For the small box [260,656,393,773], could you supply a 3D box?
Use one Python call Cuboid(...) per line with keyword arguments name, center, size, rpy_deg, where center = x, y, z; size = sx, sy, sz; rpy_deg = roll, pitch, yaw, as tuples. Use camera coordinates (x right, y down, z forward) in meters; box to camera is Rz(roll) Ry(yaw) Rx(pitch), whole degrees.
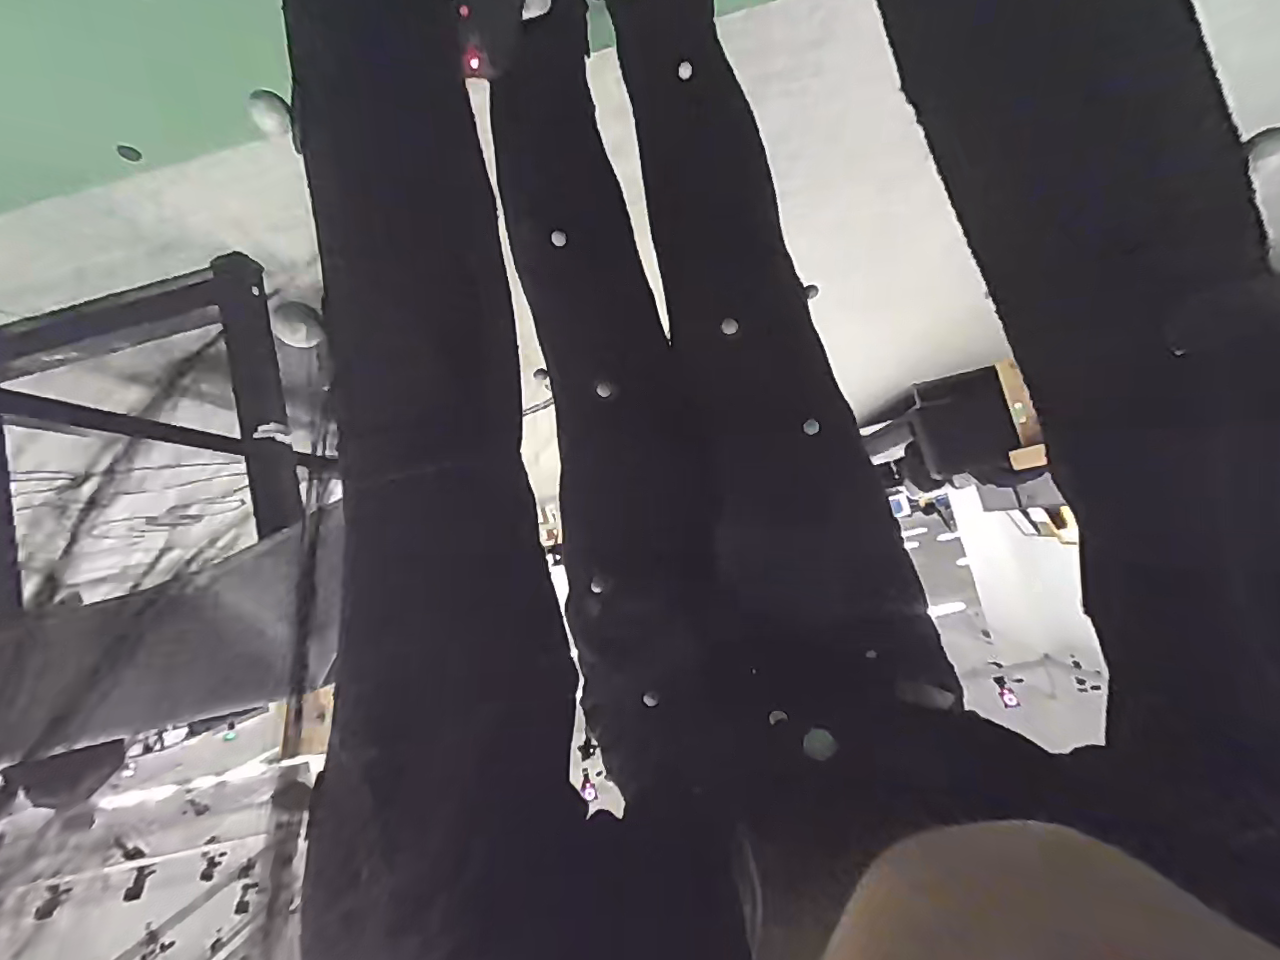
Cuboid(name="small box", center=(-0.668, 0.488, 1.157), size=(0.179, 0.176, 0.168), rpy_deg=(-15, 173, 4))
